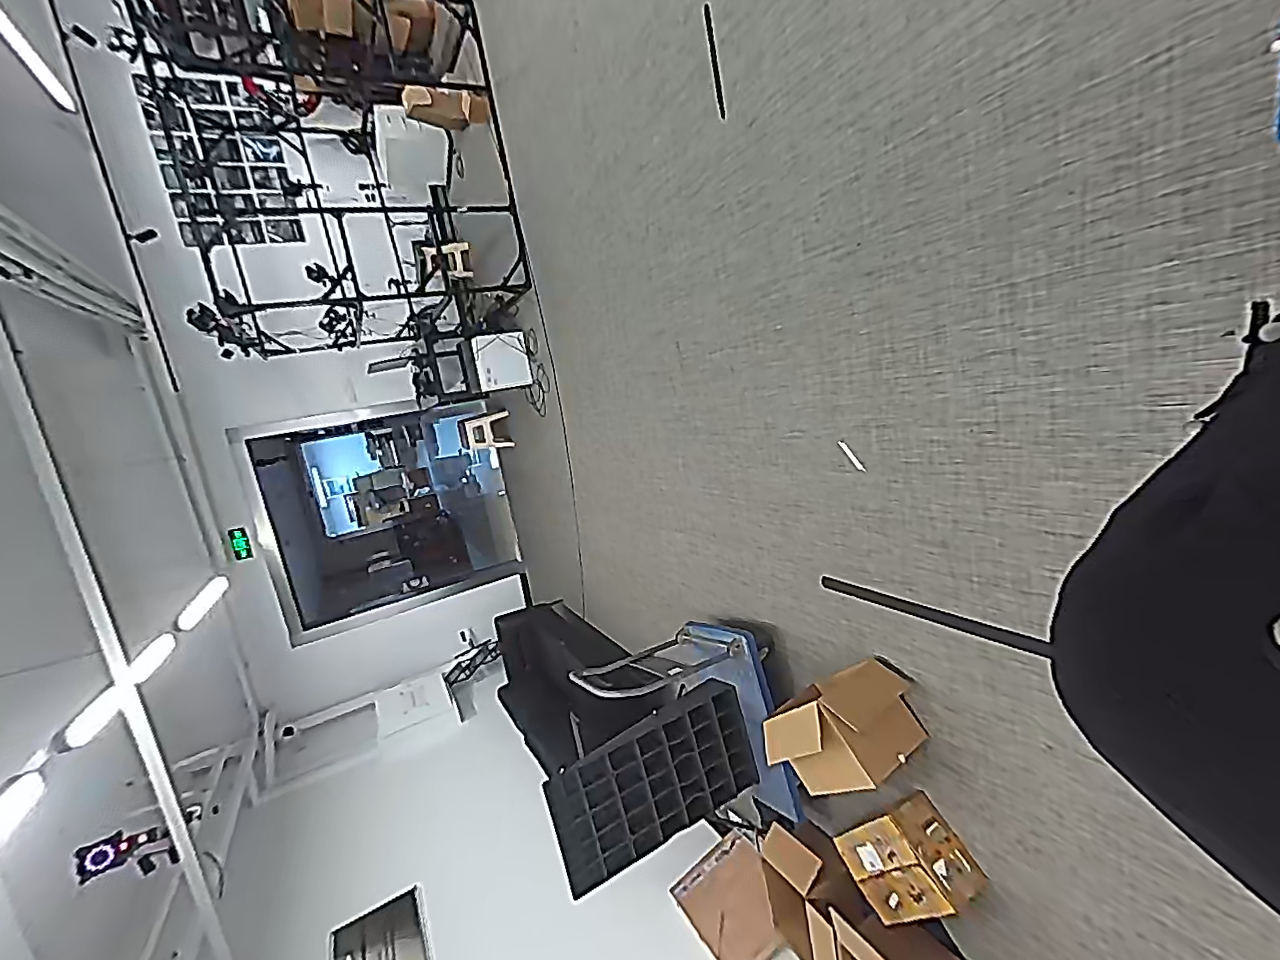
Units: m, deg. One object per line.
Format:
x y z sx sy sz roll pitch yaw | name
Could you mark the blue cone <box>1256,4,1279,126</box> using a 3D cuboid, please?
0.968 -0.622 0.750 0.192 0.380 0.193 18 119 61 | blue cone
